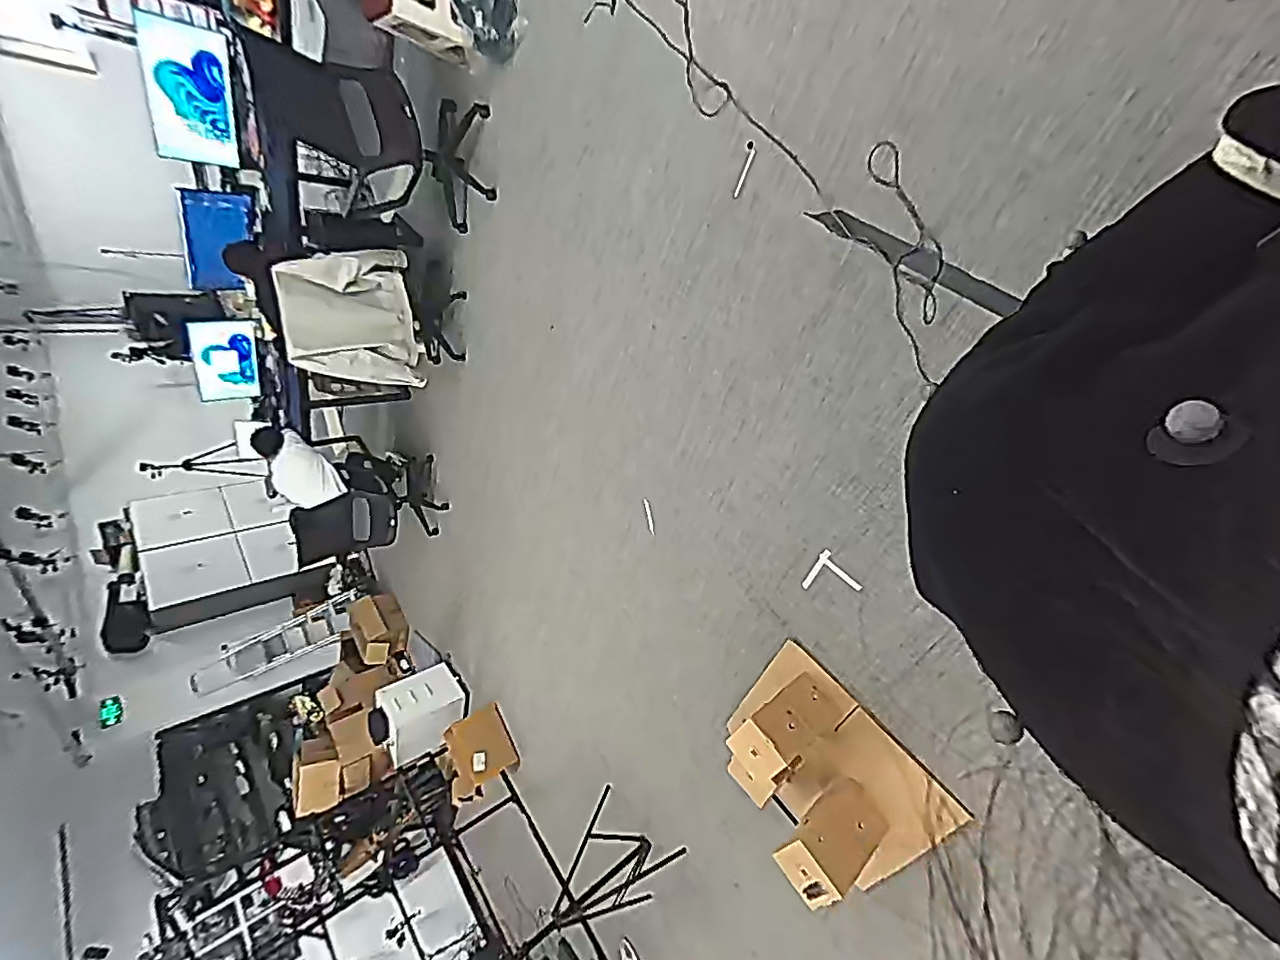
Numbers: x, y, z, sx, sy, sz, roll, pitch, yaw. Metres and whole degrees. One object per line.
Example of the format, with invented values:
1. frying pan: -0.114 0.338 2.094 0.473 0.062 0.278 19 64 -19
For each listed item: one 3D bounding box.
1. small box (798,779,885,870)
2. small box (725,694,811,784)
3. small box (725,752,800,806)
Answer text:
1. small box: 0.666 1.129 1.778 0.179 0.176 0.168 51 133 23
2. small box: 0.411 0.822 1.725 0.168 0.176 0.179 48 131 28
3. small box: 0.453 1.044 1.995 0.179 0.176 0.168 41 130 34
